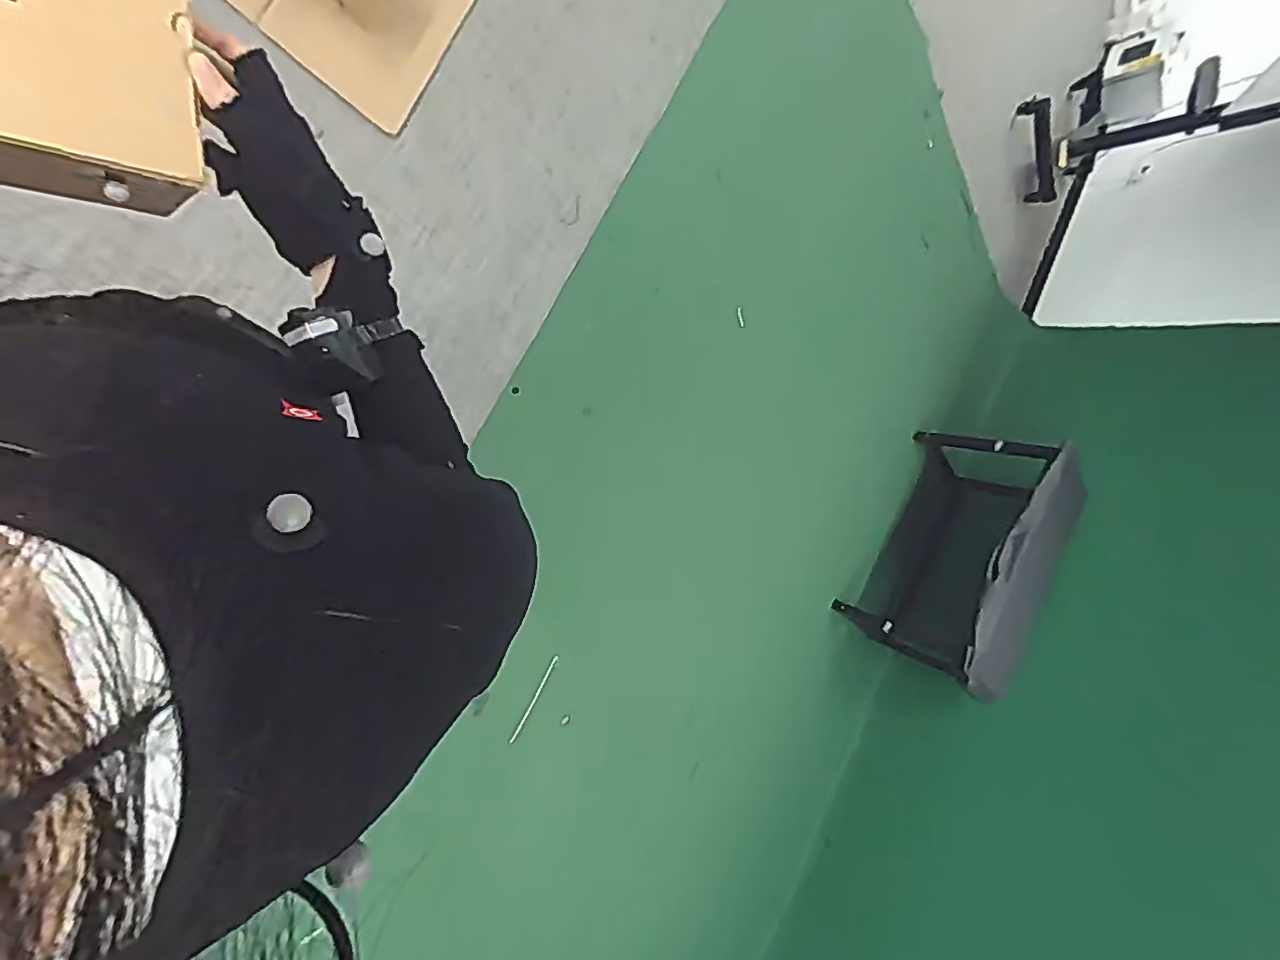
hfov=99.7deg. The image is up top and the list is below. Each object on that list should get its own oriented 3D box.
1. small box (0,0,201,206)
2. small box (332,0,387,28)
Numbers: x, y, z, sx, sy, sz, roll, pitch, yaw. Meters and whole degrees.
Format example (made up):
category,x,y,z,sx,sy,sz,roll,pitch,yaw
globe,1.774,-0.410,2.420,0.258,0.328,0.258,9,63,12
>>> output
category,x,y,z,sx,sy,sz,roll,pitch,yaw
small box,-0.378,-0.269,0.304,0.179,0.176,0.168,-9,109,-46
small box,-0.582,-1.099,1.108,0.168,0.176,0.179,31,81,-38
